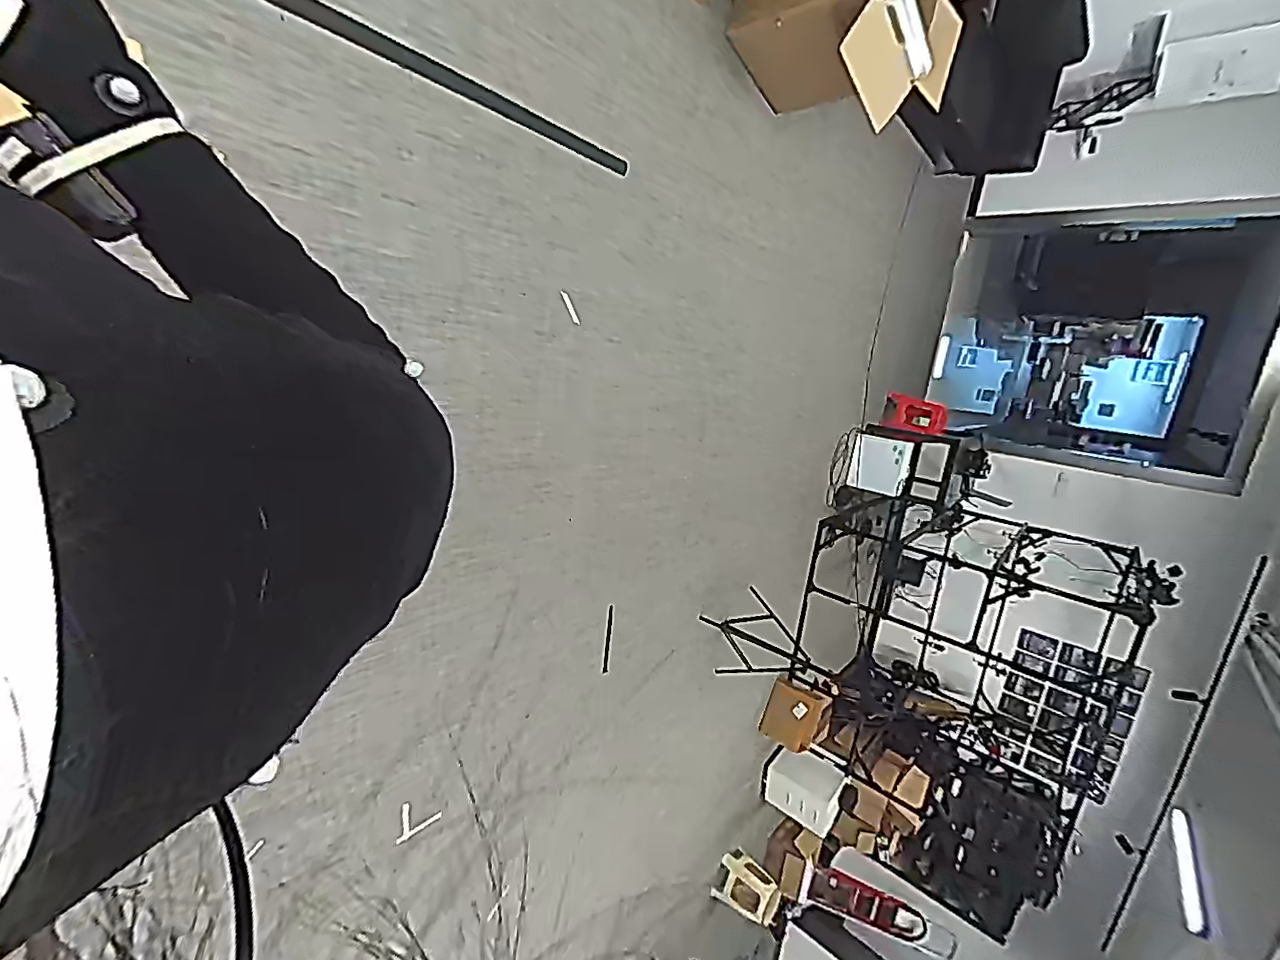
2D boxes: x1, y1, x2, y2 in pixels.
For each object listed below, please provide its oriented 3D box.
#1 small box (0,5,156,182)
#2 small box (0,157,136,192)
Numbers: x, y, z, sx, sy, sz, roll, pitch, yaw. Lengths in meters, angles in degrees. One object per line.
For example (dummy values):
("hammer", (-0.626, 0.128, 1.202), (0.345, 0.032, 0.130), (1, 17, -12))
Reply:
("small box", (-0.861, -0.560, 0.805), (0.179, 0.176, 0.168), (-13, 113, -49))
("small box", (-0.982, -0.602, 0.911), (0.168, 0.176, 0.179), (-12, 114, -48))
